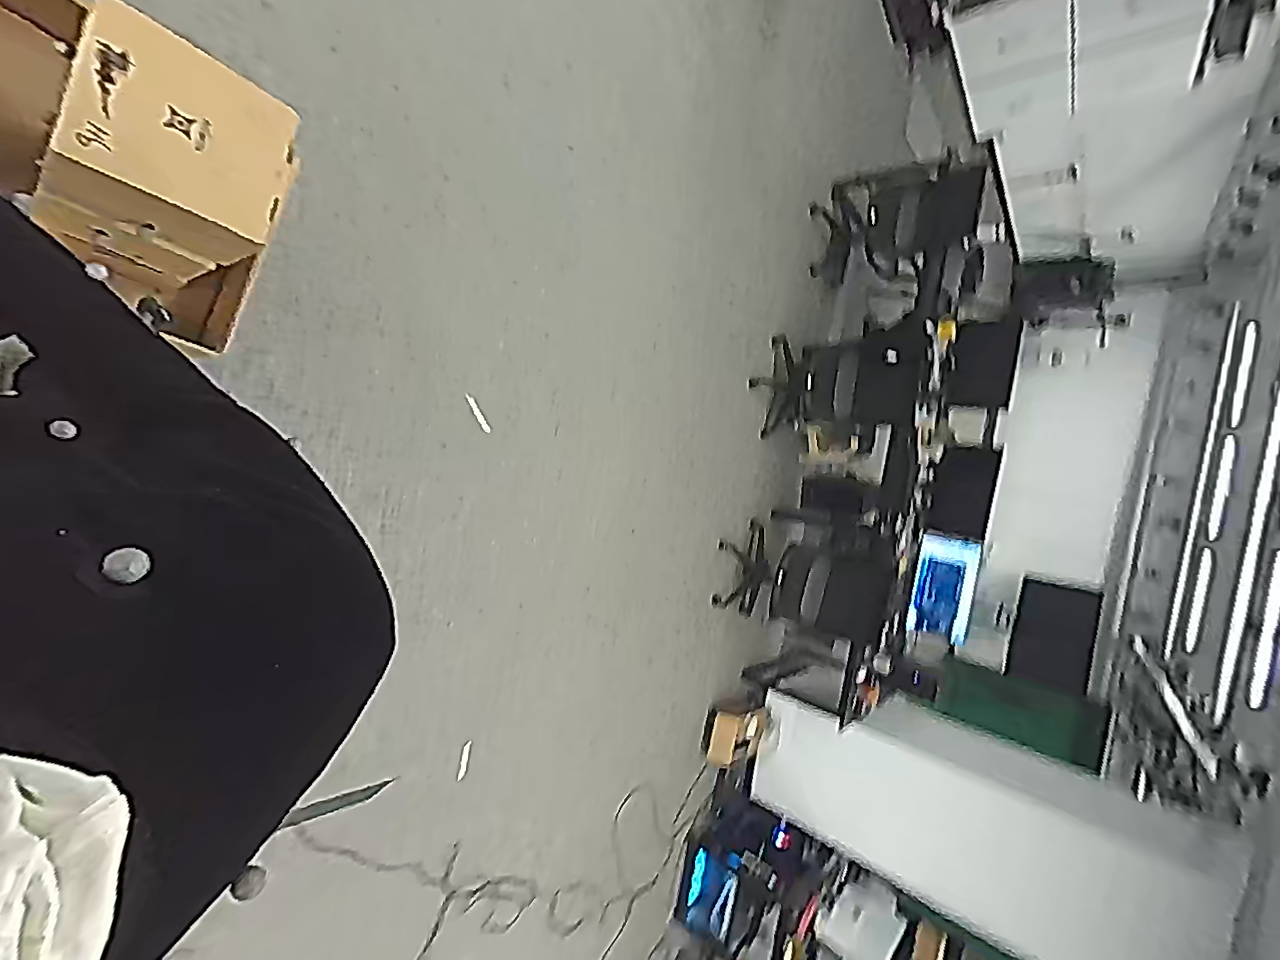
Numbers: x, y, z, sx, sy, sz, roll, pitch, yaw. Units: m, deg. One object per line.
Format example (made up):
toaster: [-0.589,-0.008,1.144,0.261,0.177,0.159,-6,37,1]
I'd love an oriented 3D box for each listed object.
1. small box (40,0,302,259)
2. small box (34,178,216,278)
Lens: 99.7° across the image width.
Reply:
small box: [-0.532,-0.372,0.618,0.179,0.176,0.168,18,83,-51]
small box: [-0.659,-0.391,0.719,0.168,0.176,0.179,21,81,-50]
